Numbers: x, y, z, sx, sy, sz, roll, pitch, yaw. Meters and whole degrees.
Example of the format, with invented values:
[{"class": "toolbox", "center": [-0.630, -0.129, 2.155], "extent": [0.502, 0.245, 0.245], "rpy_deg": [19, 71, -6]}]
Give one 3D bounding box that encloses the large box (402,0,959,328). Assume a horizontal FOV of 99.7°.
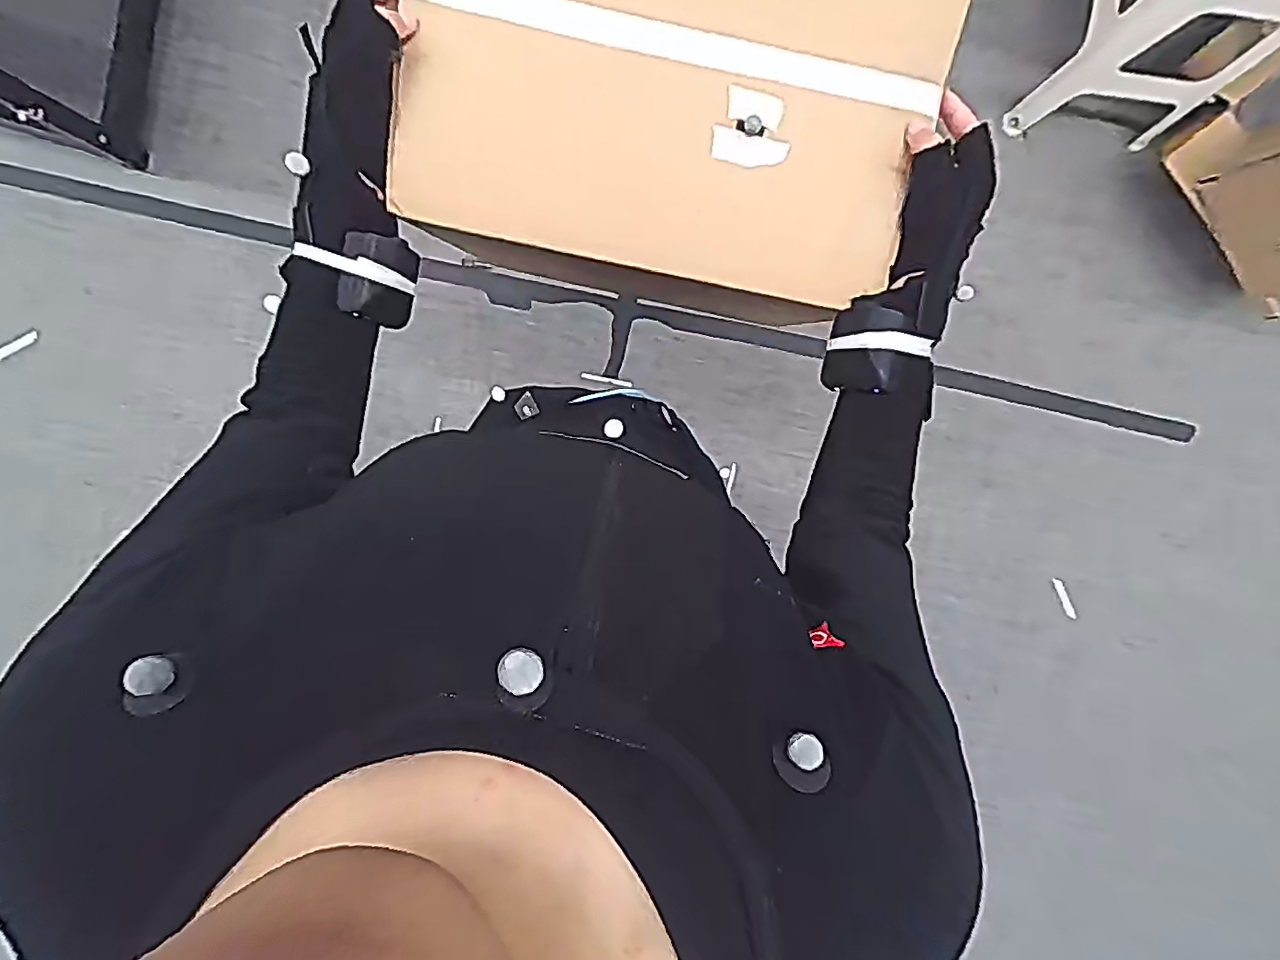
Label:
[{"class": "large box", "center": [0.024, -0.352, 0.556], "extent": [0.408, 0.320, 0.320], "rpy_deg": [11, 105, -4]}]
